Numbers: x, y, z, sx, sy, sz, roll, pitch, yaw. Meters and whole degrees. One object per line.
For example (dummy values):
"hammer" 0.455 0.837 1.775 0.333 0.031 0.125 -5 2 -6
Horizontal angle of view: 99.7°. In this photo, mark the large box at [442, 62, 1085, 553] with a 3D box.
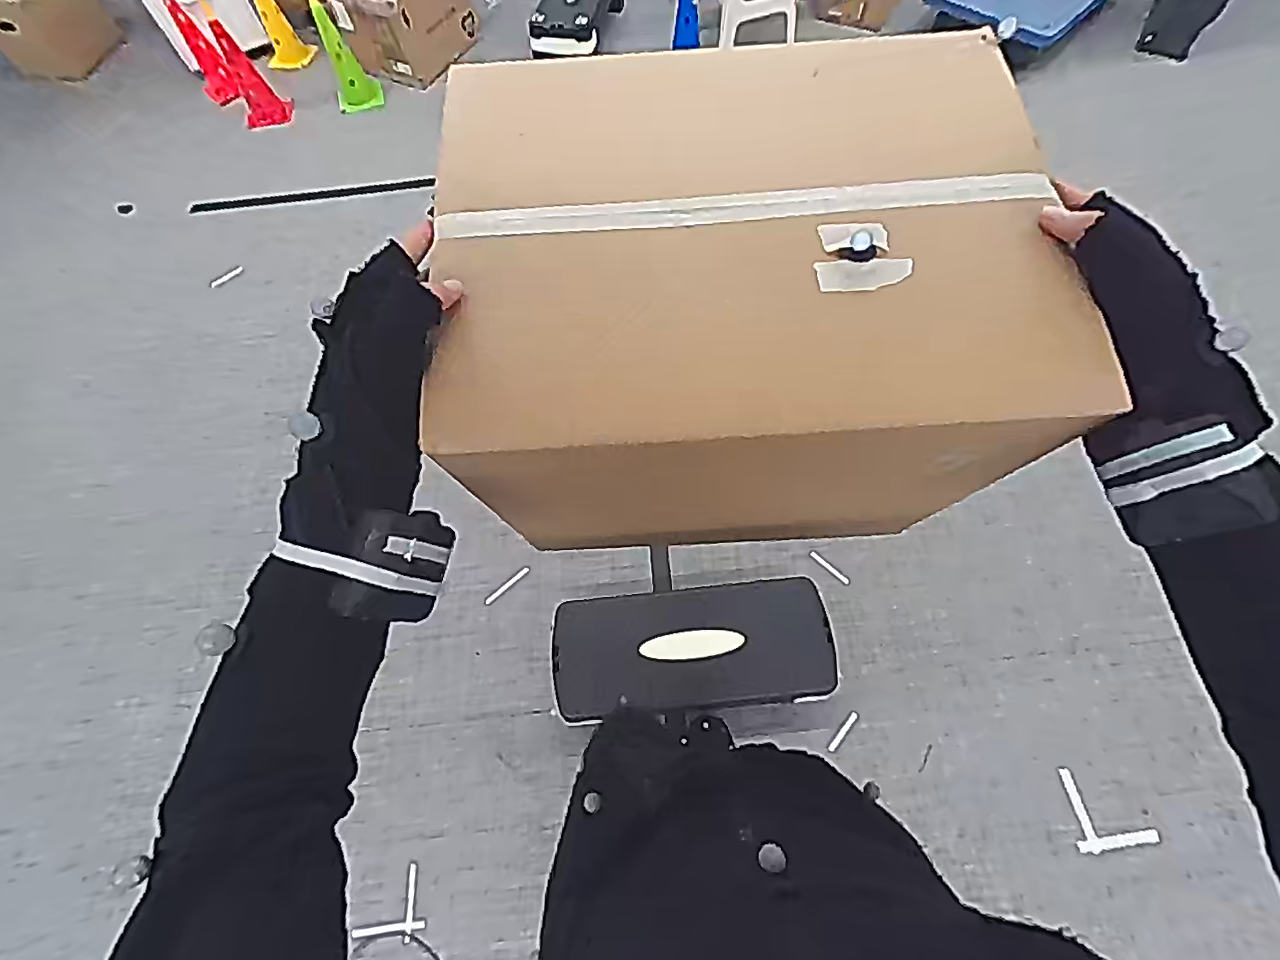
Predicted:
"large box" 0.068 -0.123 0.517 0.408 0.320 0.320 -4 72 1
